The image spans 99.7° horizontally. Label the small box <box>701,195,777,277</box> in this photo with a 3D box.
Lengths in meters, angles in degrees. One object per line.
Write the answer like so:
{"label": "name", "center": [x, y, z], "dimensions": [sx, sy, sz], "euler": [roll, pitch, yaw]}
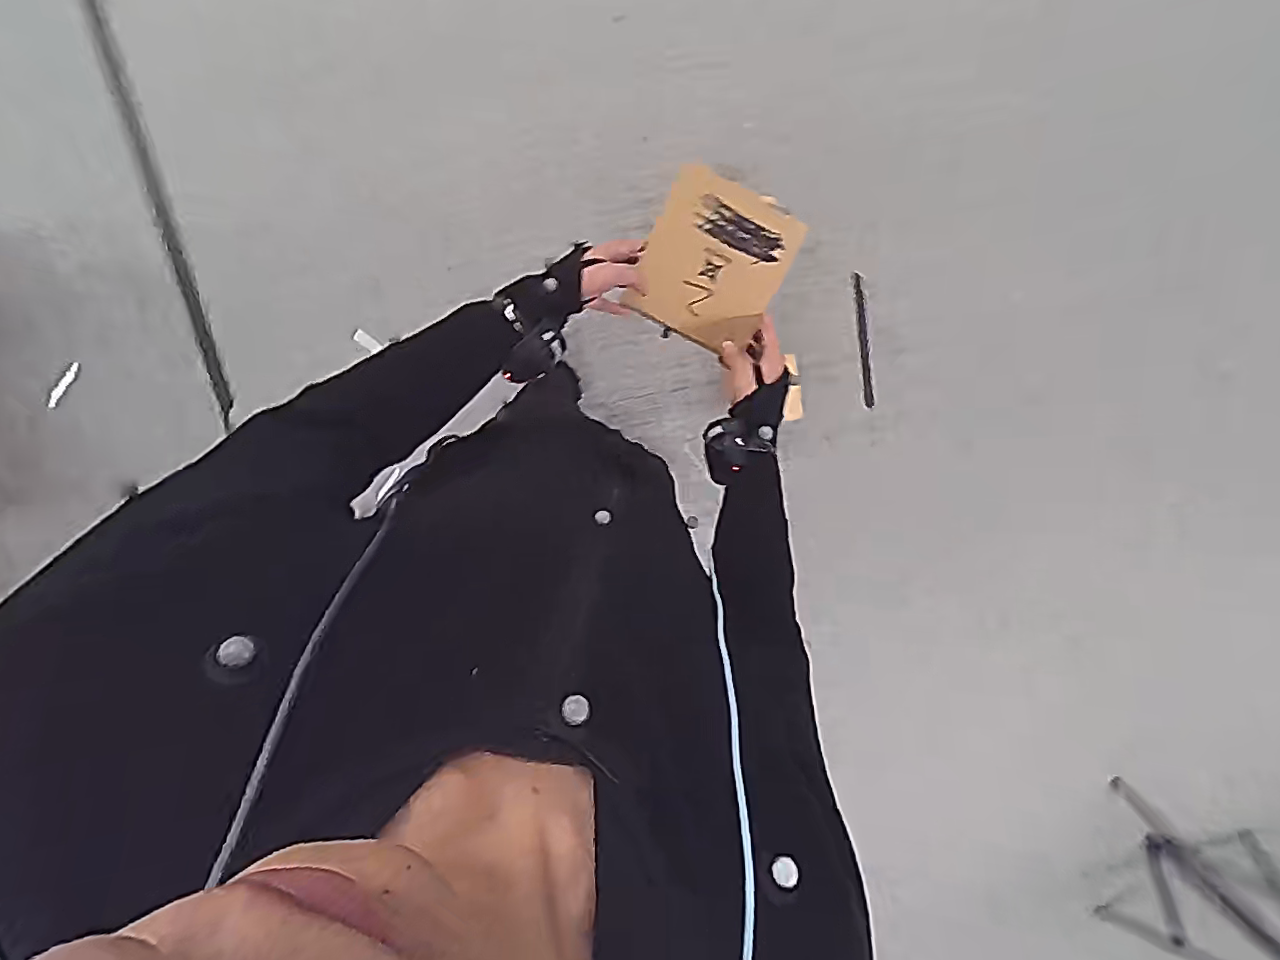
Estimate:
{"label": "small box", "center": [0.257, -0.637, 1.428], "dimensions": [0.168, 0.176, 0.179], "euler": [-2, 103, -2]}

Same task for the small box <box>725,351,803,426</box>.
{"label": "small box", "center": [0.343, -0.261, 1.521], "dimensions": [0.168, 0.176, 0.179], "euler": [-11, 105, 0]}
